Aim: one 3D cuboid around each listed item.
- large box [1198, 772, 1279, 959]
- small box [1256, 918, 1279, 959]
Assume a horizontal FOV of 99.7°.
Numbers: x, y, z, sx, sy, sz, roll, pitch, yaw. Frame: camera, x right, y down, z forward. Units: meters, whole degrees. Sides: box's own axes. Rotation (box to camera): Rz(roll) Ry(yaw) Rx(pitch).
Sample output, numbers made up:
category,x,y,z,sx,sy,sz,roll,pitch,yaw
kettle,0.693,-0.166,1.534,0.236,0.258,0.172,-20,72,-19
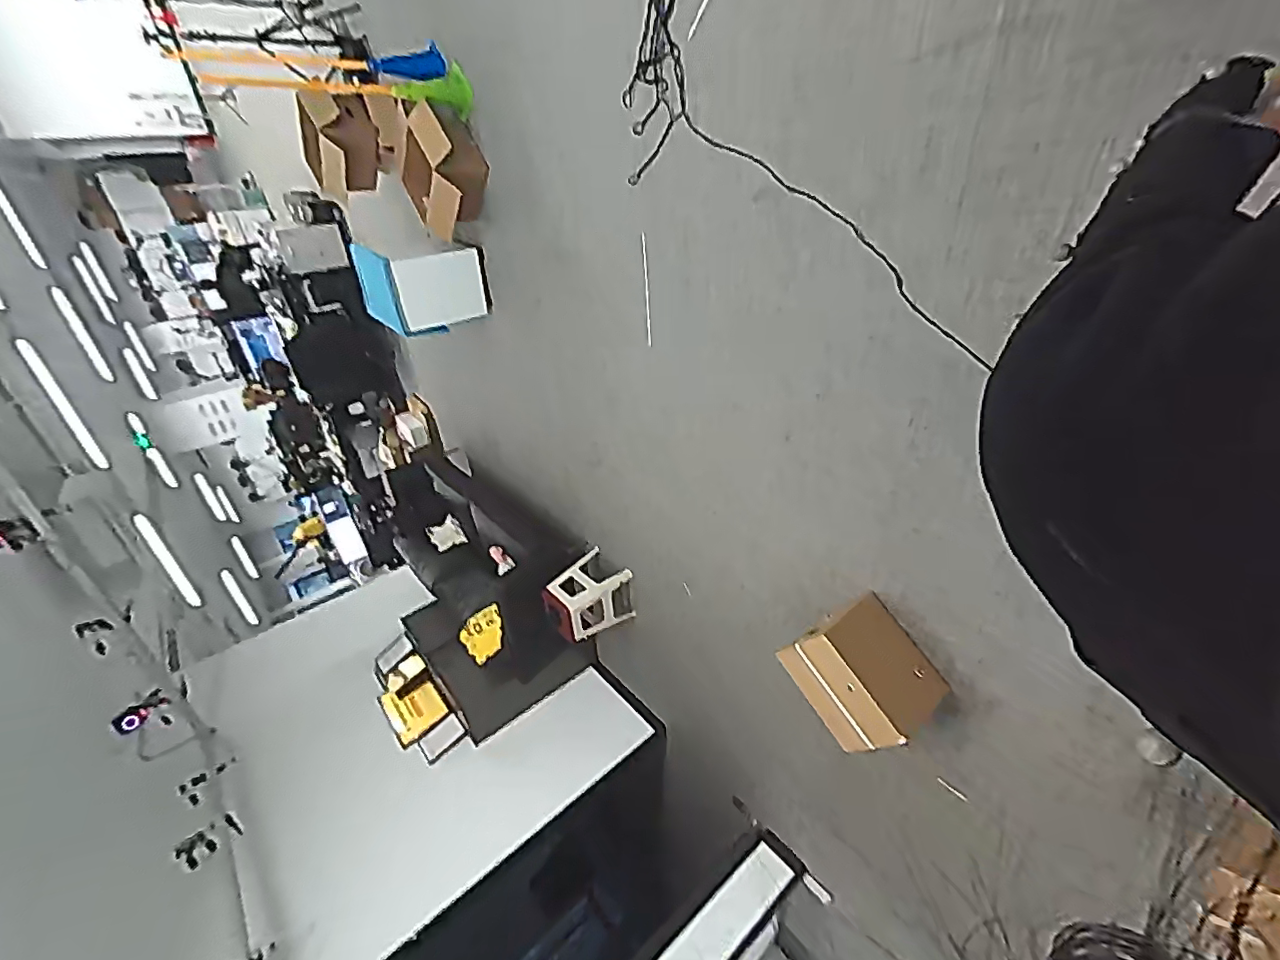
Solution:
category,x,y,z,sx,sy,sz,roll,pitch,yaw
large box,1.482,0.915,1.123,0.408,0.320,0.320,13,123,49
small box,1.273,0.973,1.000,0.168,0.176,0.179,21,128,48
